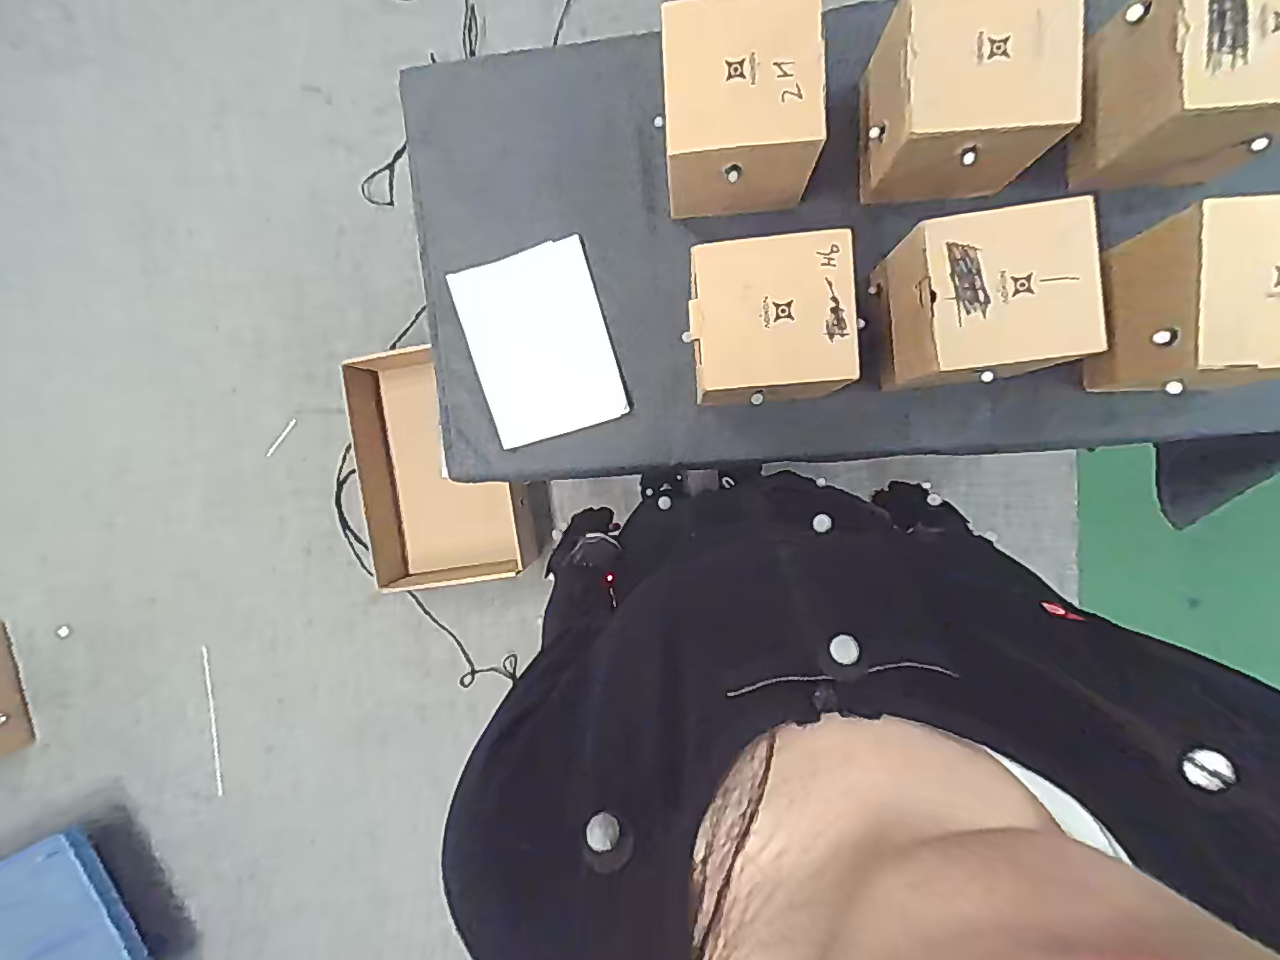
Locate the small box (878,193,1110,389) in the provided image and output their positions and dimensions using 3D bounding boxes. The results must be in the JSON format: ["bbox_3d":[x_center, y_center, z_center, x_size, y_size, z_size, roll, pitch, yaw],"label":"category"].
[{"bbox_3d":[0.400,-0.209,0.646,0.179,0.176,0.168,-7,91,5],"label":"small box"}]

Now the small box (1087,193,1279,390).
[{"bbox_3d":[0.662,-0.205,0.625,0.168,0.176,0.179,-1,92,5],"label":"small box"}]
